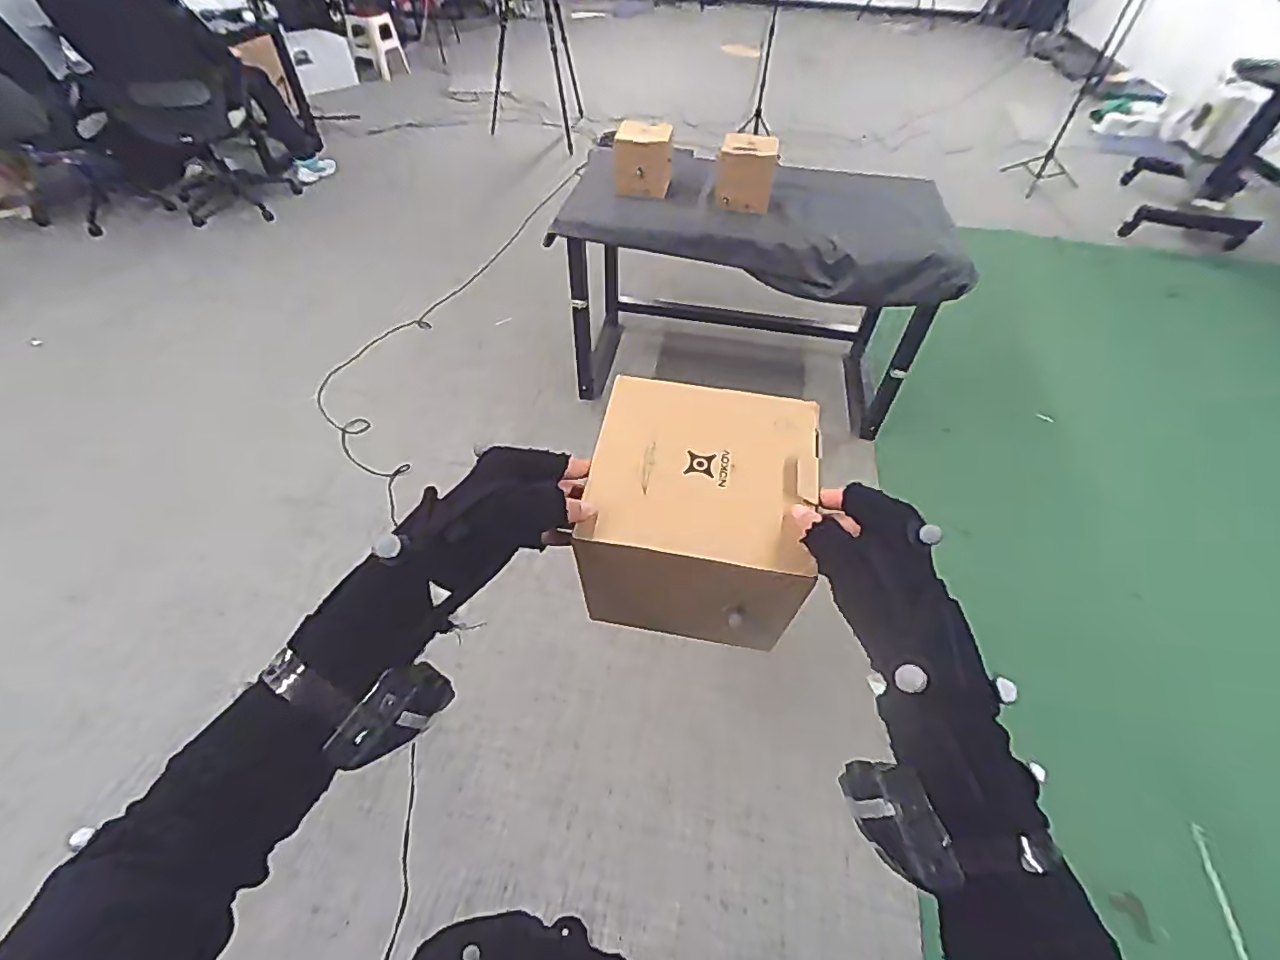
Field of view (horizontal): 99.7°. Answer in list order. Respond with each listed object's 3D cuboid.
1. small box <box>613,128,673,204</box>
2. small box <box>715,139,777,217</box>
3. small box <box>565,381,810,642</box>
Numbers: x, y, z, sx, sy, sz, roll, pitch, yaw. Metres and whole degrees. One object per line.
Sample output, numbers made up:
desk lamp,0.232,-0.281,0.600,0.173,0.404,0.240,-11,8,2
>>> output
small box,0.012,-1.021,1.761,0.168,0.176,0.179,8,50,5
small box,0.333,-0.953,1.708,0.168,0.176,0.179,10,48,7
small box,0.046,0.035,0.491,0.179,0.176,0.168,7,56,7
